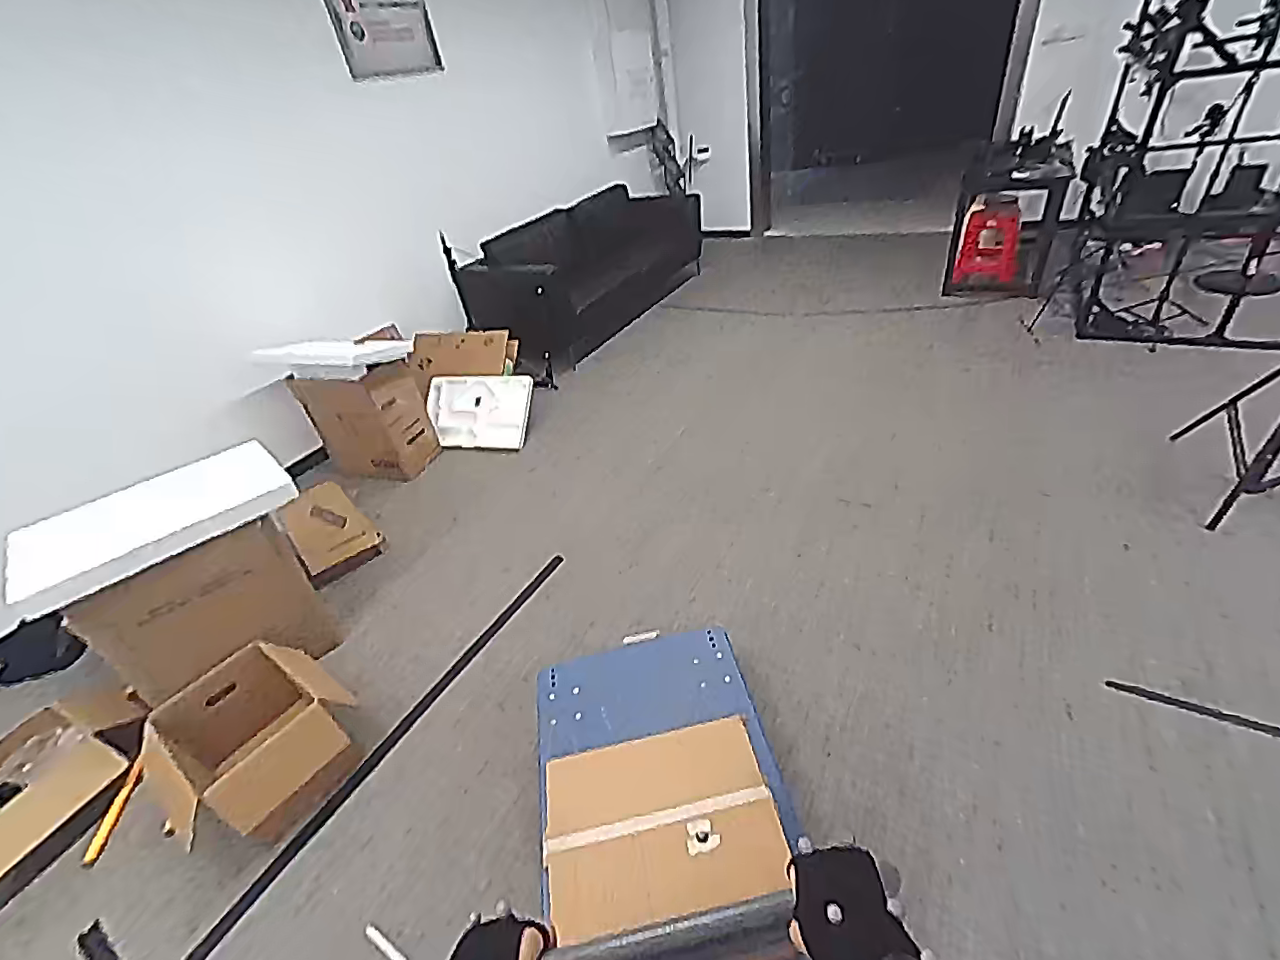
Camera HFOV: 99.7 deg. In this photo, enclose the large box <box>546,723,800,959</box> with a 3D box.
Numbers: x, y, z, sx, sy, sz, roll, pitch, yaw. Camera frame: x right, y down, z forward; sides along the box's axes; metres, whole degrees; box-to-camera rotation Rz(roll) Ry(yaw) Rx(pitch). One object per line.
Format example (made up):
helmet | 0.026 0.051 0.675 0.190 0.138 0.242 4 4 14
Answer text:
large box | 0.052 0.736 1.038 0.408 0.320 0.320 -12 36 -4
